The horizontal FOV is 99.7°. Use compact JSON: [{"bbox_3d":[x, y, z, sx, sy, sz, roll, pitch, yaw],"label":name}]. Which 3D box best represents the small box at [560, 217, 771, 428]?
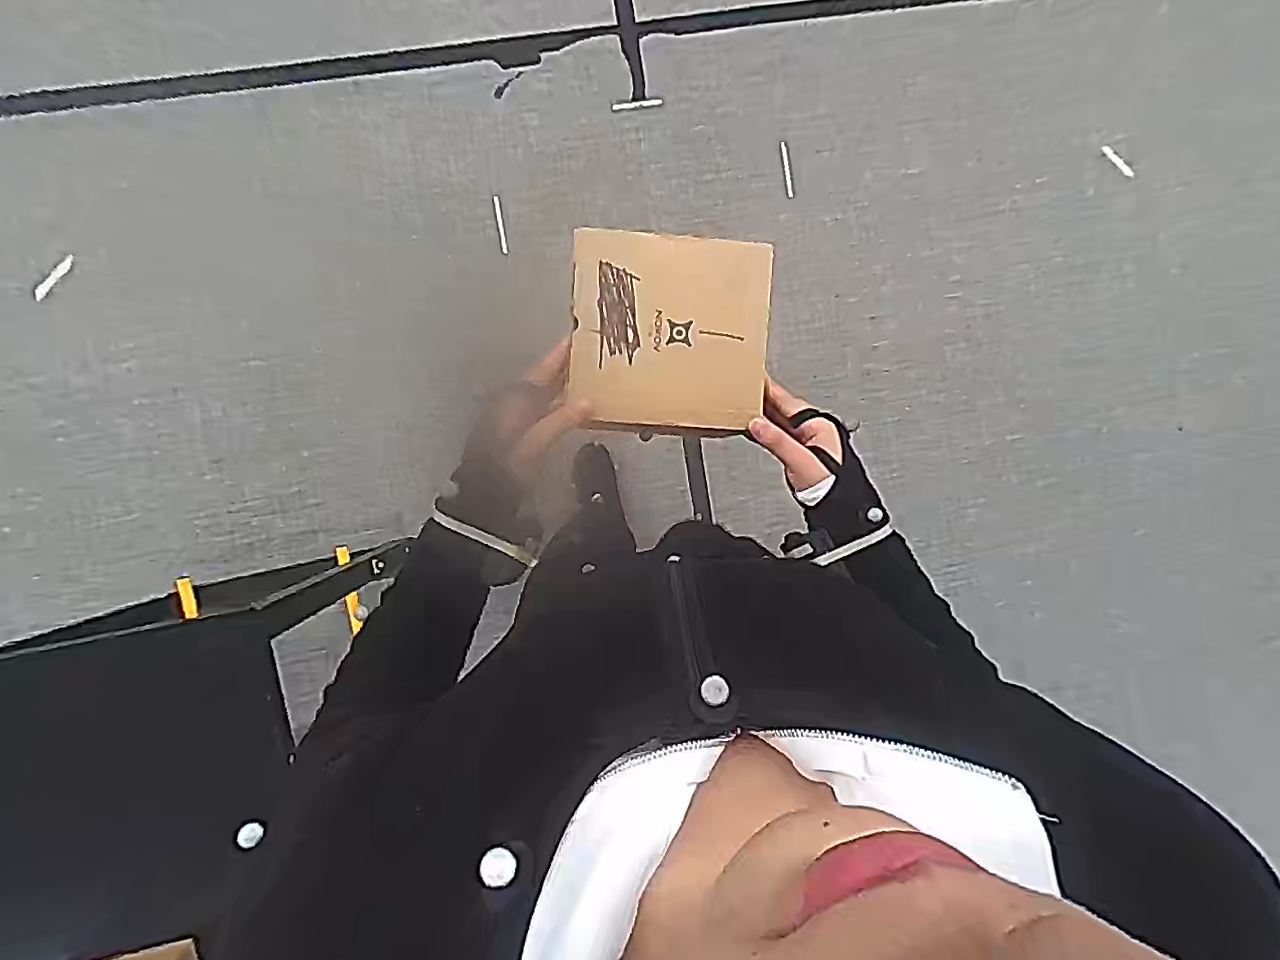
[{"bbox_3d":[0.018,-0.143,0.549,0.179,0.176,0.168,3,93,-4],"label":"small box"}]

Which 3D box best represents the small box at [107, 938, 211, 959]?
[{"bbox_3d":[-0.645,0.705,0.639,0.179,0.176,0.168,-12,94,-5],"label":"small box"}]
